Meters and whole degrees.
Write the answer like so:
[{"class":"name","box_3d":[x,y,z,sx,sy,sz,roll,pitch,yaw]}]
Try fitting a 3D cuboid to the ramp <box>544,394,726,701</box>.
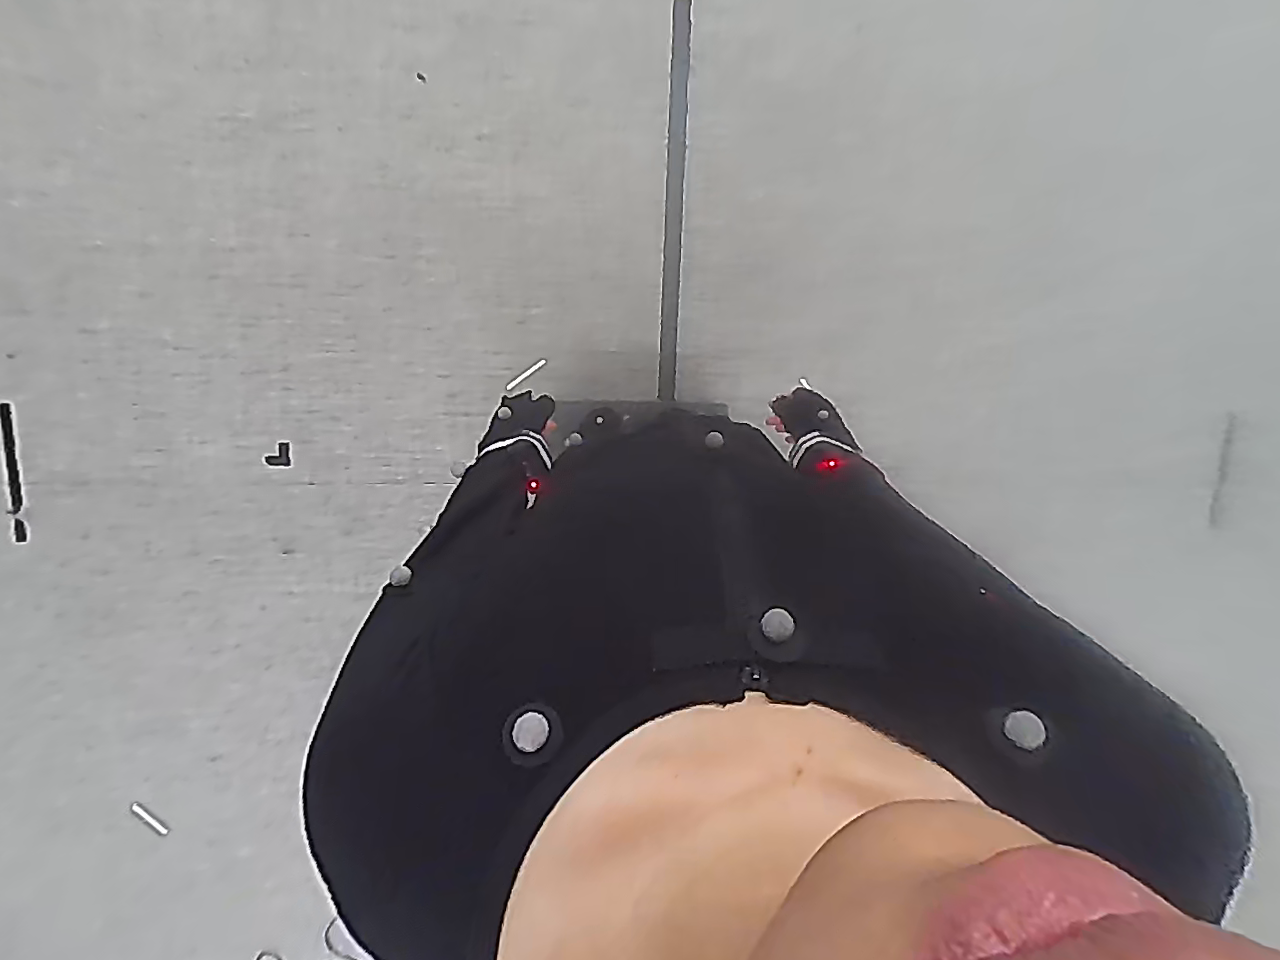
[{"class":"ramp","box_3d":[-0.018,0.242,1.600,0.509,0.206,0.991,-2,100,-5]}]
